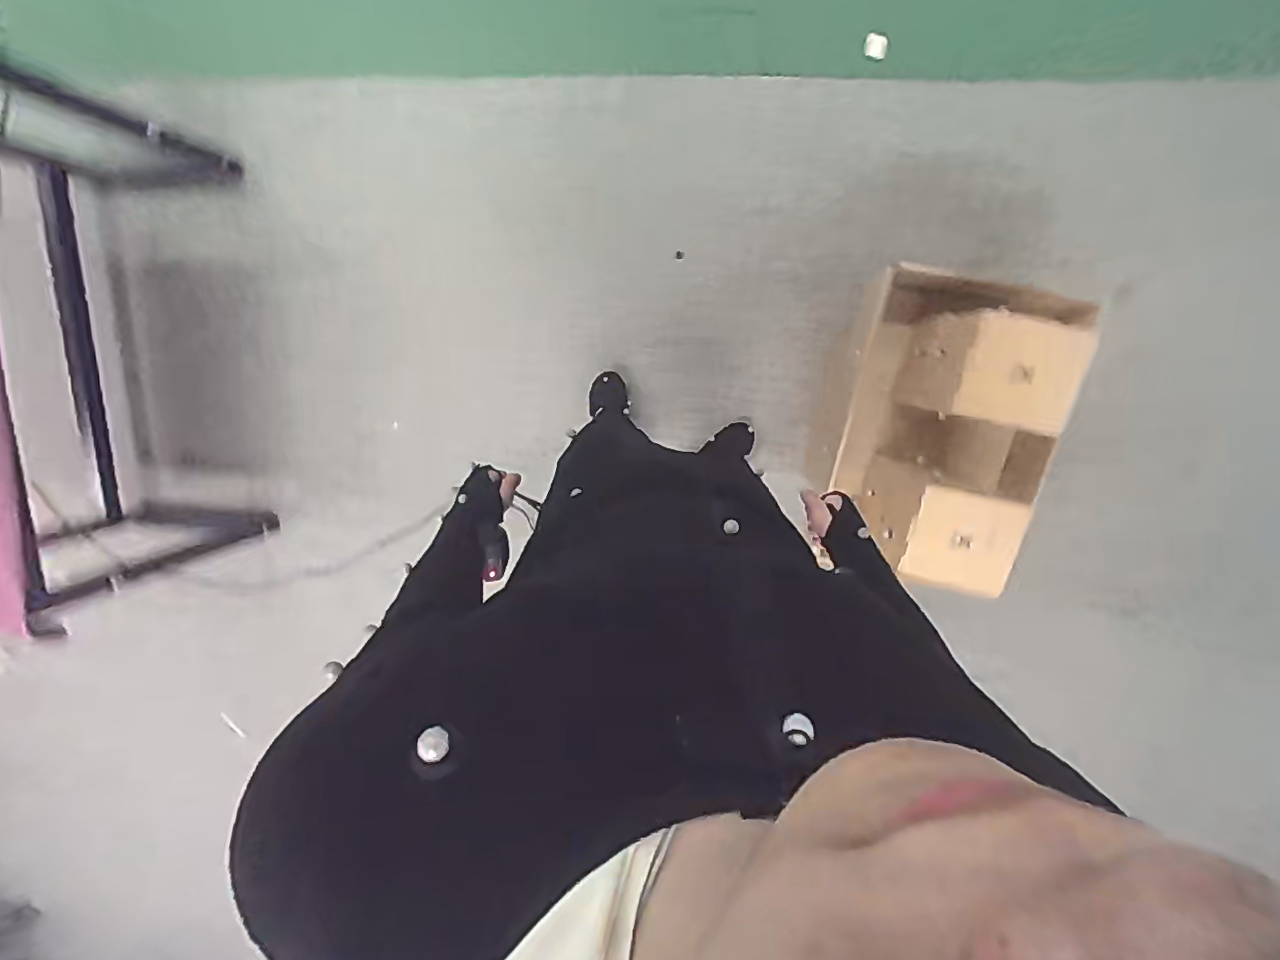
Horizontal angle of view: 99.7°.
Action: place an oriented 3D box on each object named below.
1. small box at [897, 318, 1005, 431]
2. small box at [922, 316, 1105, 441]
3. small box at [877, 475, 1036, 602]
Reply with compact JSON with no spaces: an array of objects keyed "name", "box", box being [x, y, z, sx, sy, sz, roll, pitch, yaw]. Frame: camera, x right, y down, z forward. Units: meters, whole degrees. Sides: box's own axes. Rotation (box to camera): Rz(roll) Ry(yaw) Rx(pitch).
[{"name":"small box","box":[0.645,-0.212,1.086,0.168,0.176,0.179,16,104,5]},{"name":"small box","box":[0.623,-0.176,0.928,0.179,0.176,0.168,15,103,6]},{"name":"small box","box":[0.560,0.096,0.988,0.179,0.176,0.168,14,104,5]}]
